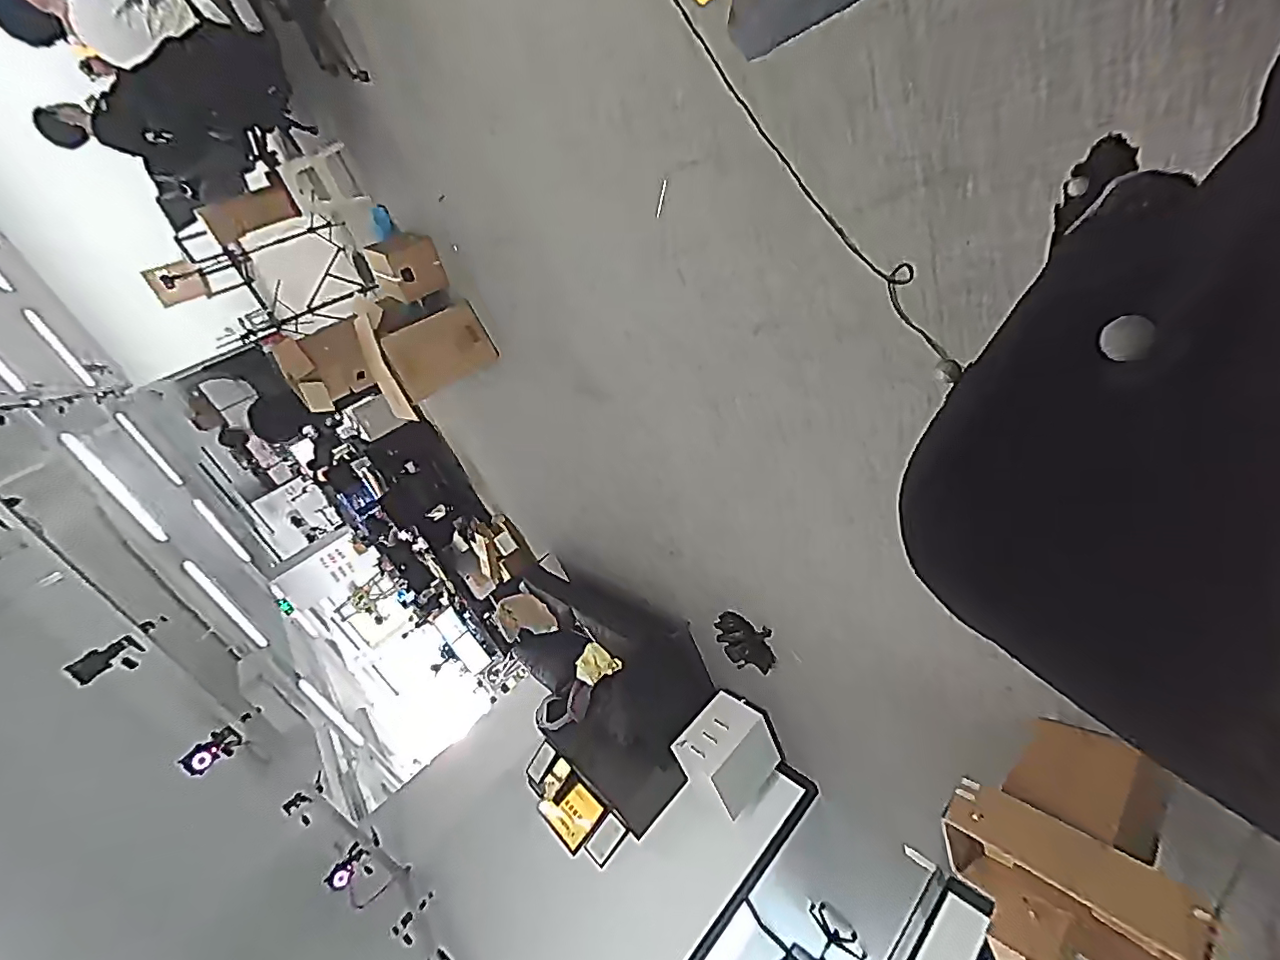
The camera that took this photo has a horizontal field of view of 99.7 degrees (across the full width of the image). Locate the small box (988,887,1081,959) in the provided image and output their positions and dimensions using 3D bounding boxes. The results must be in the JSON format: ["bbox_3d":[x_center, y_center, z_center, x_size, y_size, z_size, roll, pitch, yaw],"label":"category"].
[{"bbox_3d":[1.143,1.343,1.562,0.168,0.176,0.179,3,126,54],"label":"small box"}]

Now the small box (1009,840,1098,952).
[{"bbox_3d":[1.256,1.250,1.636,0.168,0.176,0.179,3,126,54],"label":"small box"}]
